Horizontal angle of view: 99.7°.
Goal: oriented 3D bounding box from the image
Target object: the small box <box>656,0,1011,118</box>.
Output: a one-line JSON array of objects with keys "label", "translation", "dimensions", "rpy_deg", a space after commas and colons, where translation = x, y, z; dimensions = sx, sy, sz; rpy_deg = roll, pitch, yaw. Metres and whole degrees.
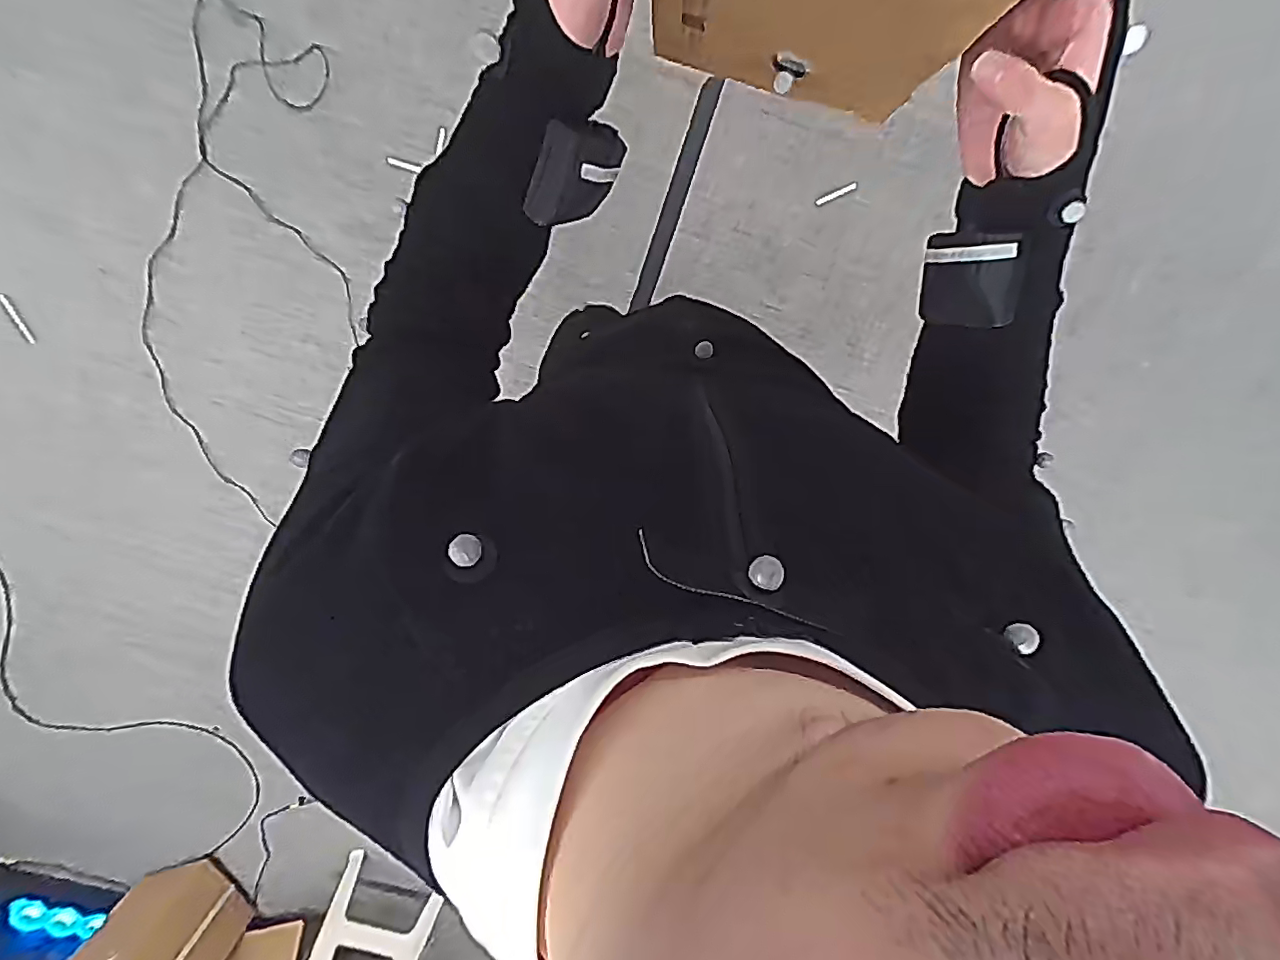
[{"label": "small box", "translation": [0.108, -0.332, 0.277], "dimensions": [0.176, 0.168, 0.179], "rpy_deg": [14, 108, -4]}]
